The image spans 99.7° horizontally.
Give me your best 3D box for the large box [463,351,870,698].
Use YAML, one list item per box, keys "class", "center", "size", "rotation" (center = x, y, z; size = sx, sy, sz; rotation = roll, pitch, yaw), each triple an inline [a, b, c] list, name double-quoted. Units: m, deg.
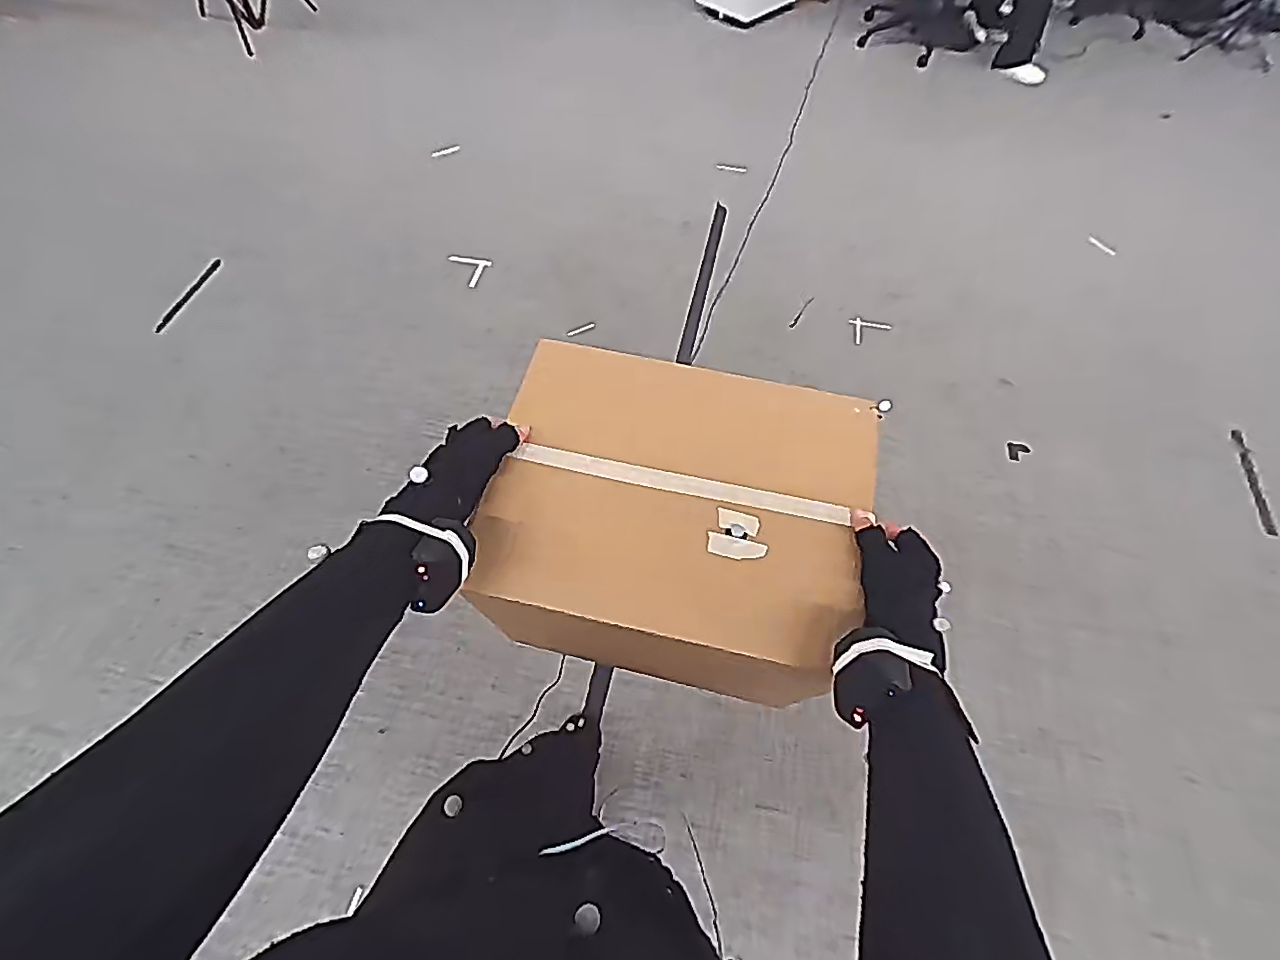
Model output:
- class: "large box"
  center: [0.042, 0.075, 0.719]
  size: [0.408, 0.320, 0.320]
  rotation: [12, 65, 5]
